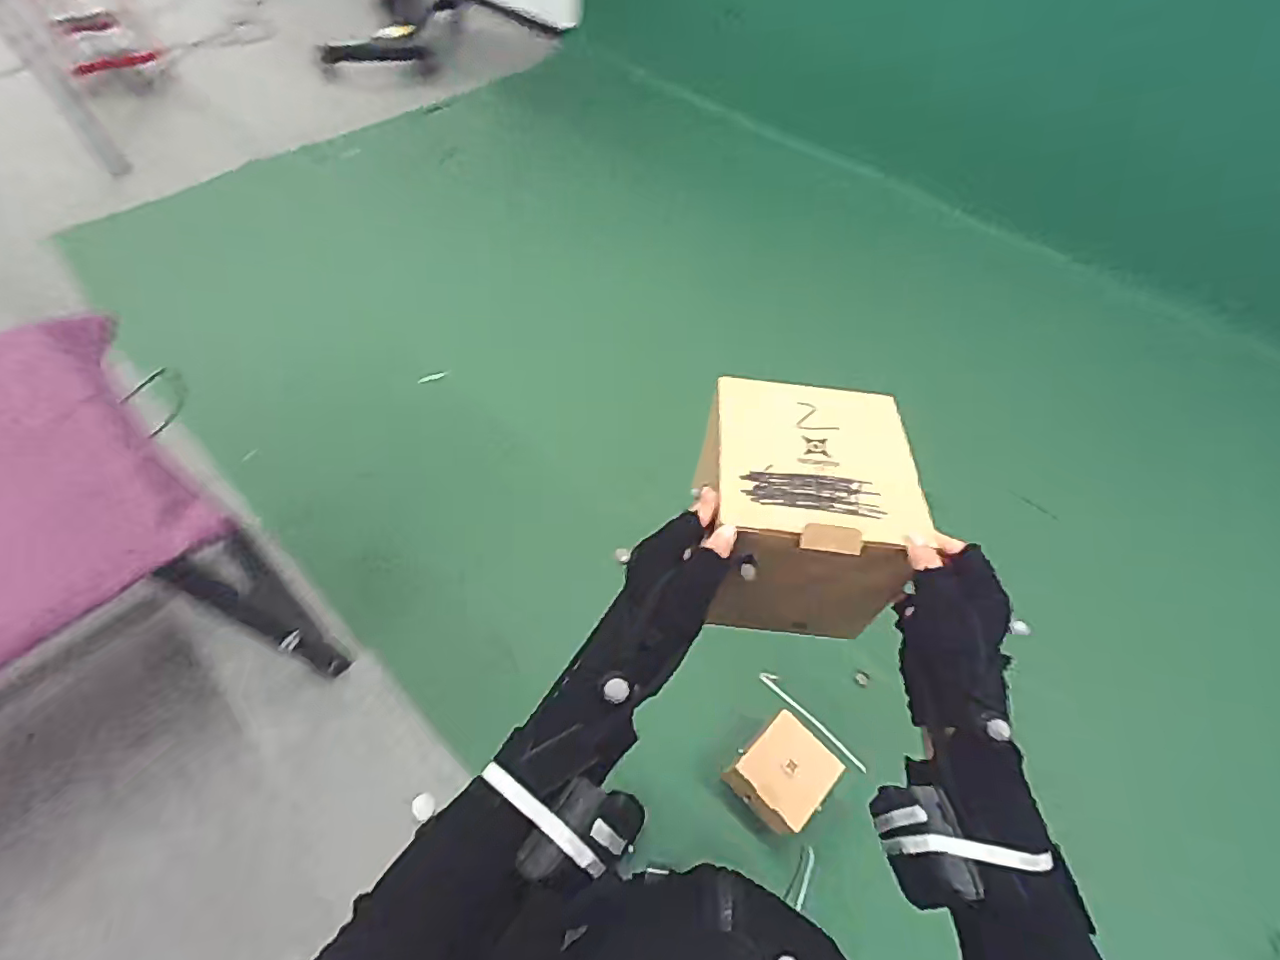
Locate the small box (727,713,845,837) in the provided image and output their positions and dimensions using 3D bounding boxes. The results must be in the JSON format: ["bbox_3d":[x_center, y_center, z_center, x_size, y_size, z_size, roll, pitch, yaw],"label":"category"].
[{"bbox_3d":[0.317,0.660,1.212,0.179,0.176,0.168,-38,66,-23],"label":"small box"}]
